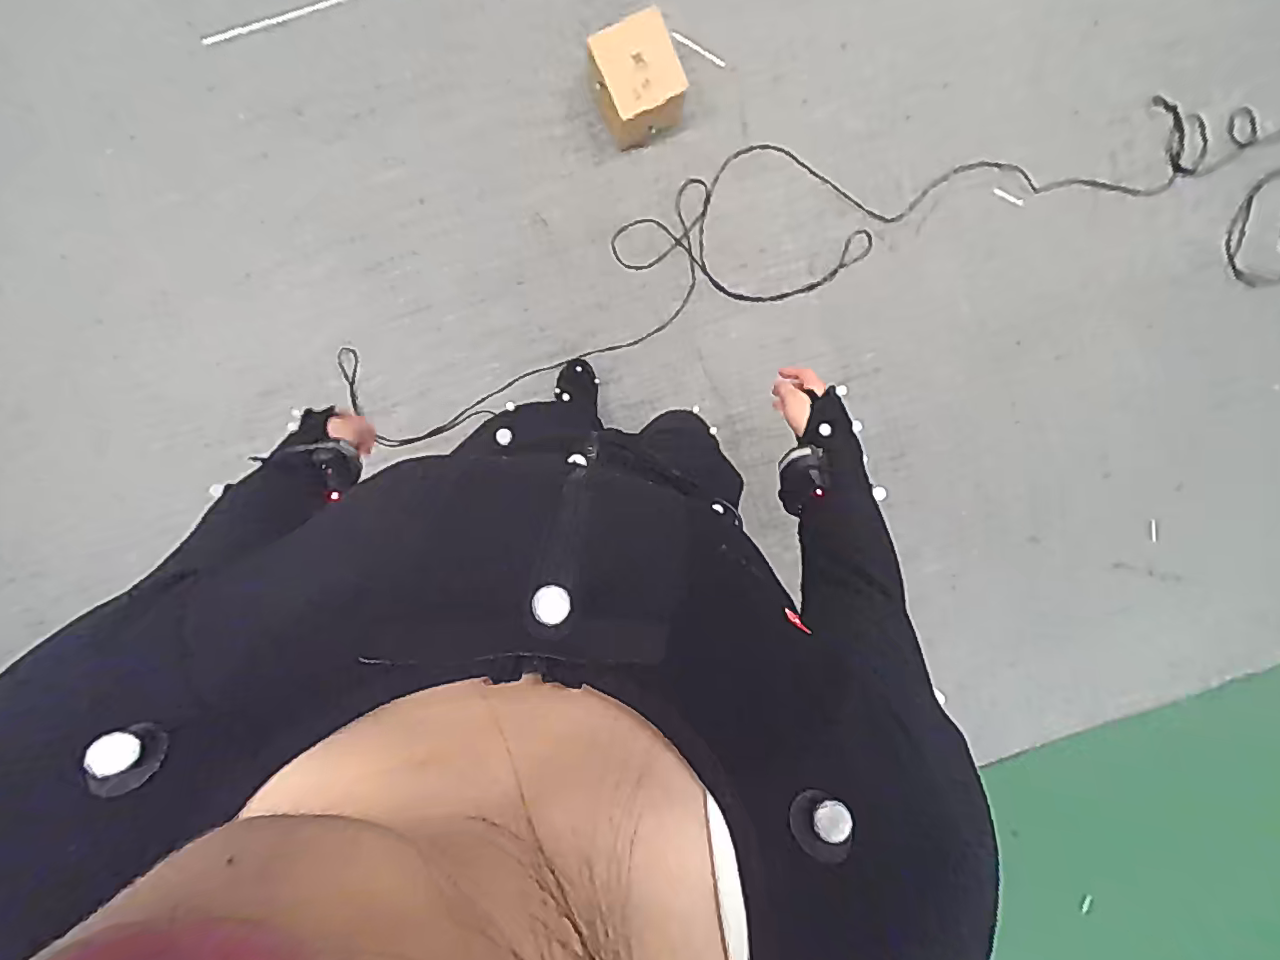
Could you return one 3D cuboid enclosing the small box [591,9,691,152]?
[{"bbox_3d":[-0.004,-0.894,1.227,0.168,0.176,0.179,-26,102,1],"label":"small box"}]
